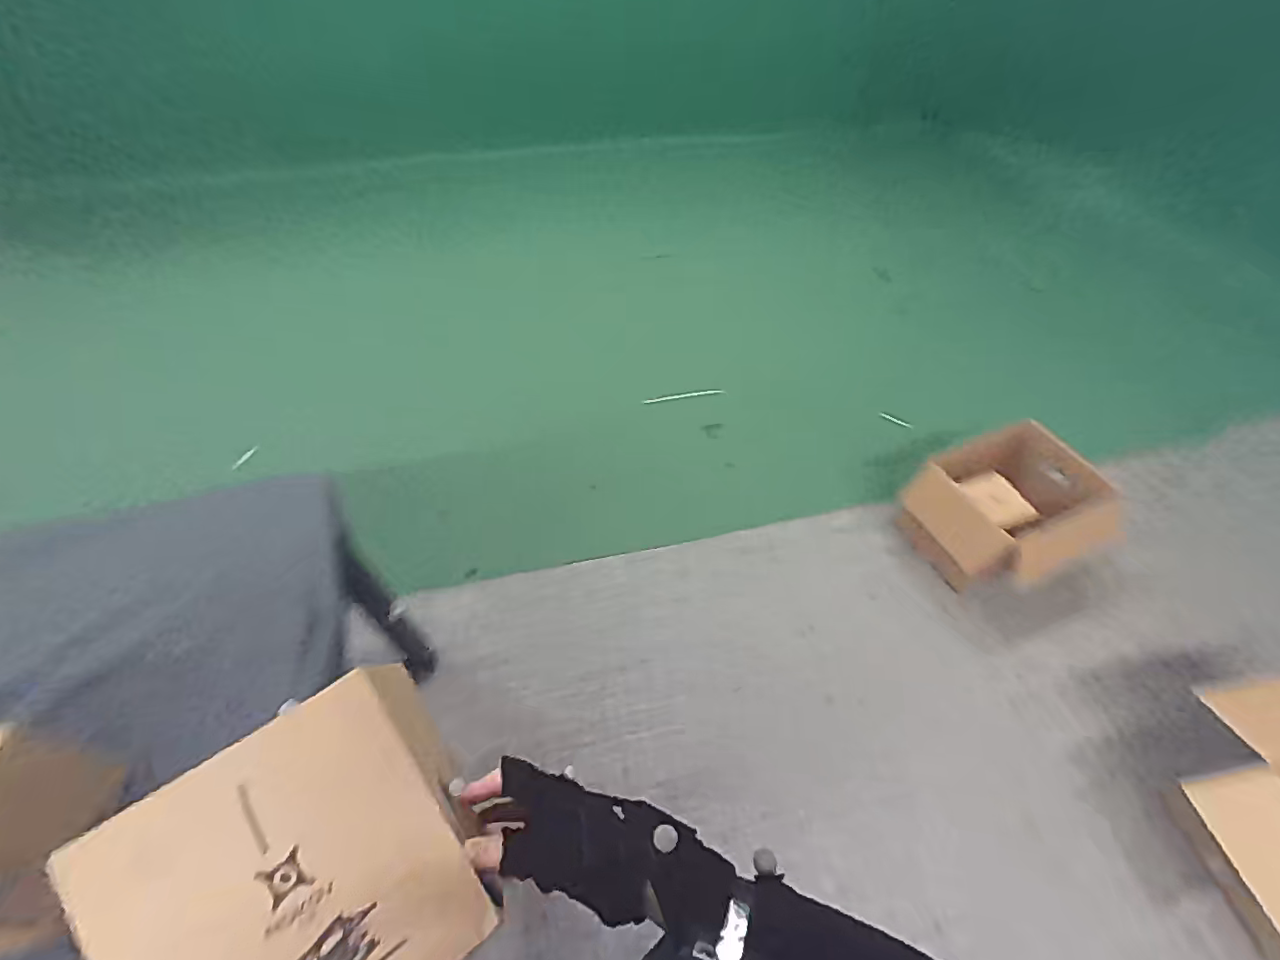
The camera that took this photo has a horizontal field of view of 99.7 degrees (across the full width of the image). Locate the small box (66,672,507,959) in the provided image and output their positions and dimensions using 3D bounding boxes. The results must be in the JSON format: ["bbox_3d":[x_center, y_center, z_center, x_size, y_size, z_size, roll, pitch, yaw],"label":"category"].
[{"bbox_3d":[-0.205,0.250,0.371,0.168,0.176,0.179,-30,82,-22],"label":"small box"}]
